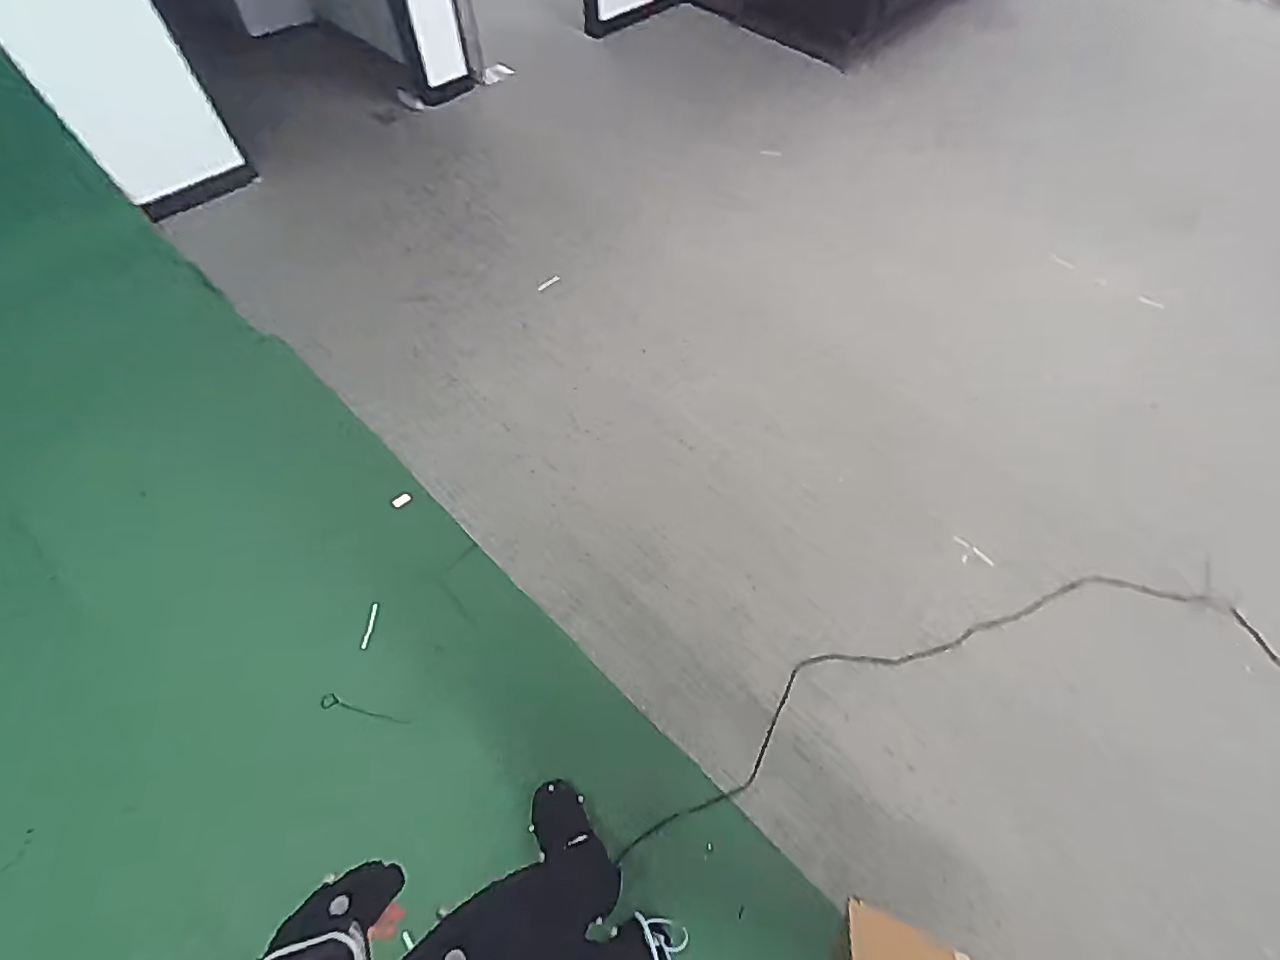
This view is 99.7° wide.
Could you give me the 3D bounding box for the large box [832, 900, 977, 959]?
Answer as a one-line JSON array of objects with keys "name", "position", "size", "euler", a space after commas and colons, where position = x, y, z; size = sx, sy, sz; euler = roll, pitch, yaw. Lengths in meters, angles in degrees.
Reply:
[{"name": "large box", "position": [0.354, 0.804, 0.591], "size": [0.320, 0.408, 0.320], "euler": [17, 88, 20]}]
